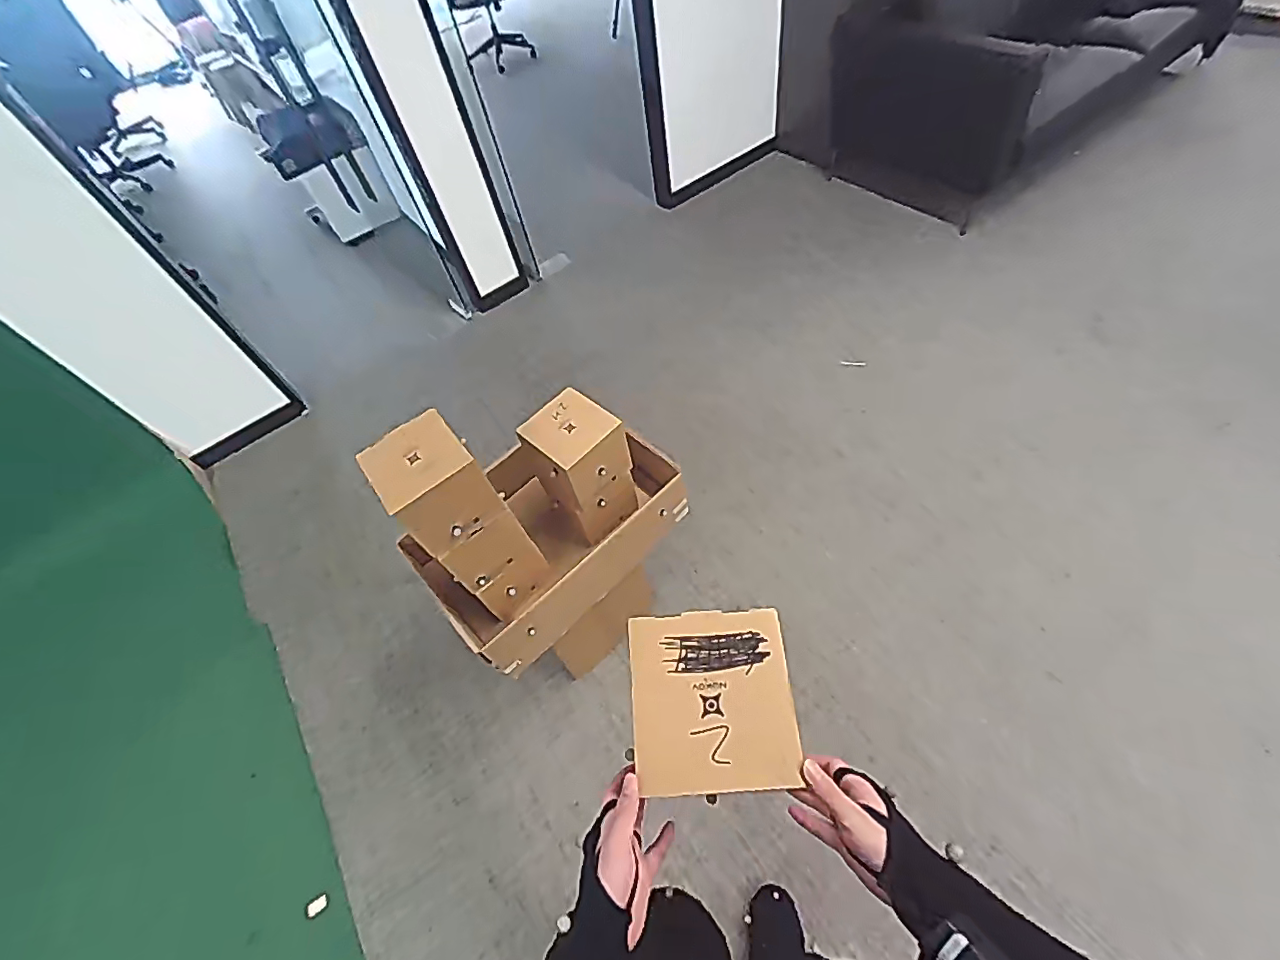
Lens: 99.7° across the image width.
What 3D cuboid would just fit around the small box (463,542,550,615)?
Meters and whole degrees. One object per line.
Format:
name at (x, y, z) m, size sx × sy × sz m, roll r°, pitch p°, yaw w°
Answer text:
small box at (-0.337, 0.192, 1.267) m, size 0.168 × 0.176 × 0.179 m, roll -40°, pitch 58°, yaw -18°

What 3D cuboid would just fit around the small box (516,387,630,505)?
small box at (-0.142, -0.069, 1.214) m, size 0.179 × 0.176 × 0.168 m, roll 37°, pitch 67°, yaw 29°

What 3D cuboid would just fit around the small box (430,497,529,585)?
small box at (-0.359, 0.097, 1.135) m, size 0.168 × 0.176 × 0.179 m, roll -36°, pitch 56°, yaw -16°

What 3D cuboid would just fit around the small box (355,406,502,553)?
small box at (-0.386, 0.002, 1.005) m, size 0.168 × 0.176 × 0.179 m, roll -36°, pitch 57°, yaw -15°
